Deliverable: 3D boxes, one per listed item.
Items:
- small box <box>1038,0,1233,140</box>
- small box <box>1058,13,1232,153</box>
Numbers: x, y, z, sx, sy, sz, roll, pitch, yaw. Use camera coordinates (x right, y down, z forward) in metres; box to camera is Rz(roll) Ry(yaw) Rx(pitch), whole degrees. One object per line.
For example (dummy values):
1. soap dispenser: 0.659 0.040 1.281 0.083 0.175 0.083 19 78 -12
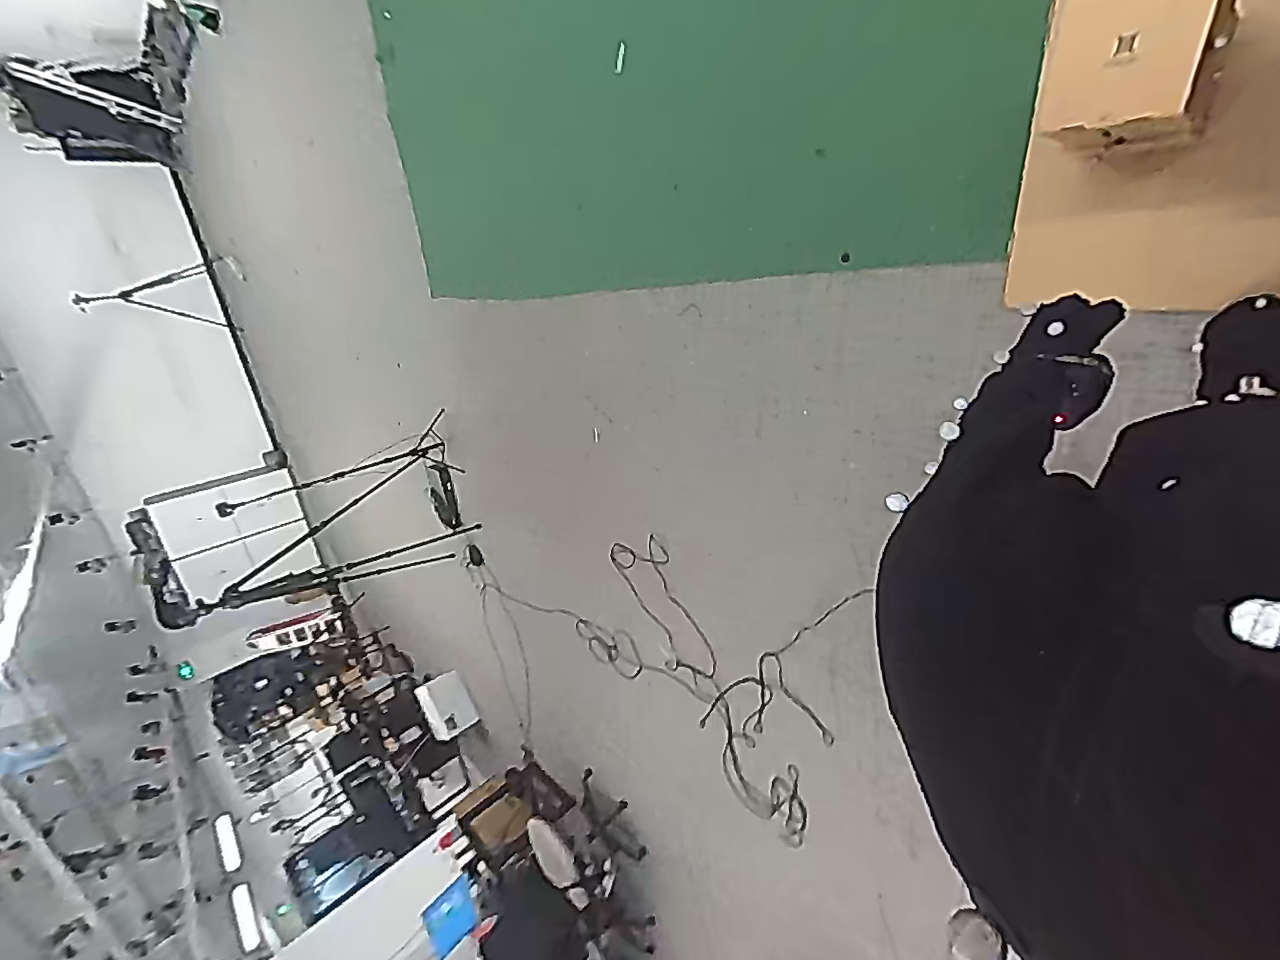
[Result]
1. small box: 0.709 -0.606 0.776 0.168 0.176 0.179 21 124 42
2. small box: 0.824 -0.647 0.884 0.168 0.176 0.179 21 122 43
